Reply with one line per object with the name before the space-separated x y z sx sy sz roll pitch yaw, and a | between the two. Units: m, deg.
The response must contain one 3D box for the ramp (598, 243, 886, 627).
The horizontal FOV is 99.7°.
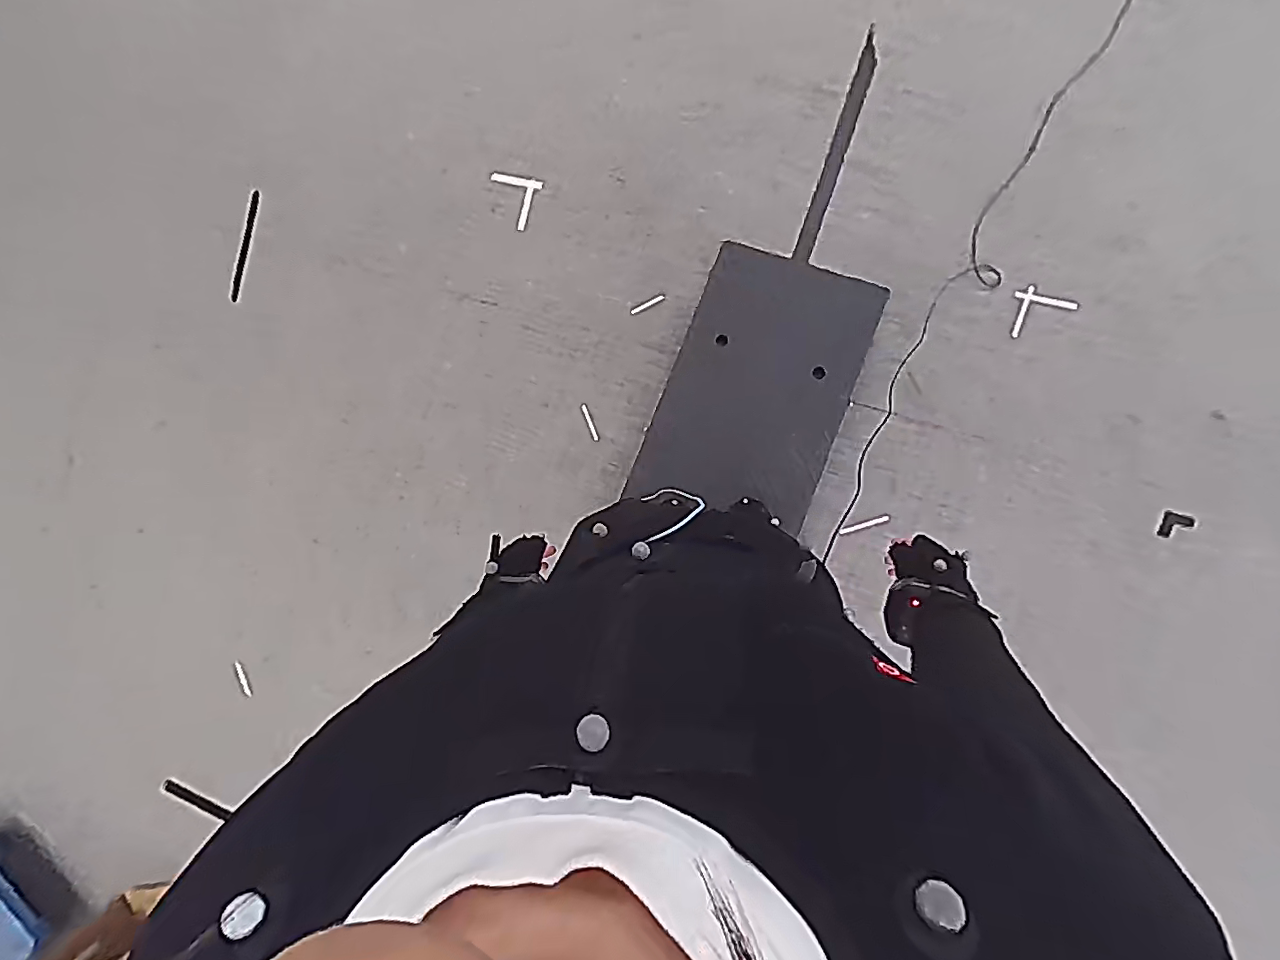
ramp | 0.282 -0.154 1.503 0.509 0.206 0.991 19 95 11
